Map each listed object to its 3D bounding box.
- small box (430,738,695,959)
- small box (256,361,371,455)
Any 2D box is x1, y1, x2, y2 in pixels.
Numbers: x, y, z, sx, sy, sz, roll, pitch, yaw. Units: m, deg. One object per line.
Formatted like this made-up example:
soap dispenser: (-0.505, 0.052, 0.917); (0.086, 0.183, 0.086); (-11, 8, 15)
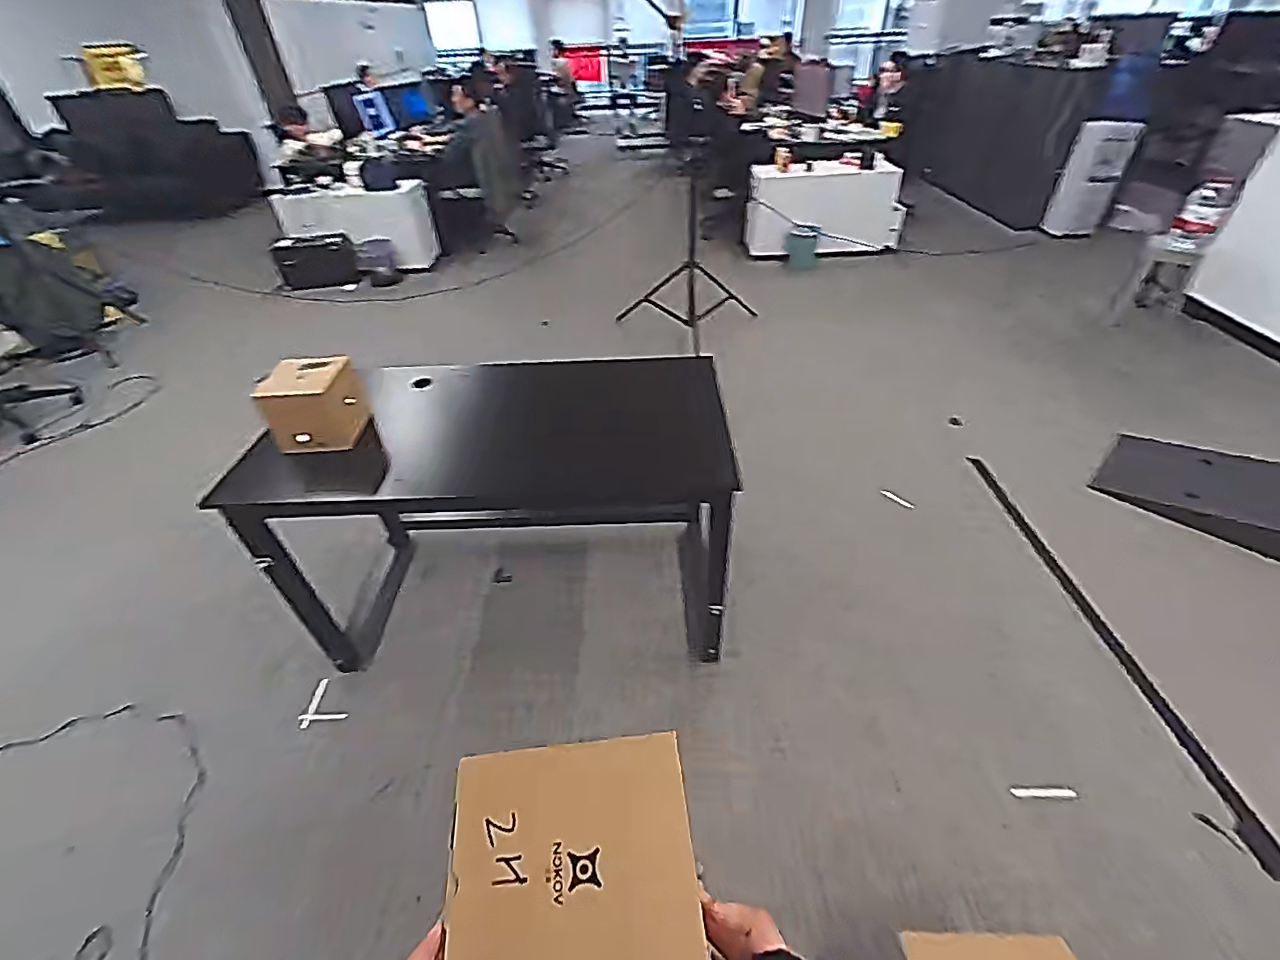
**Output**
small box: (-0.058, 0.331, 0.449); (0.179, 0.176, 0.168); (-6, 51, -5)
small box: (-0.800, -0.180, 1.350); (0.168, 0.176, 0.179); (-3, 41, 0)
